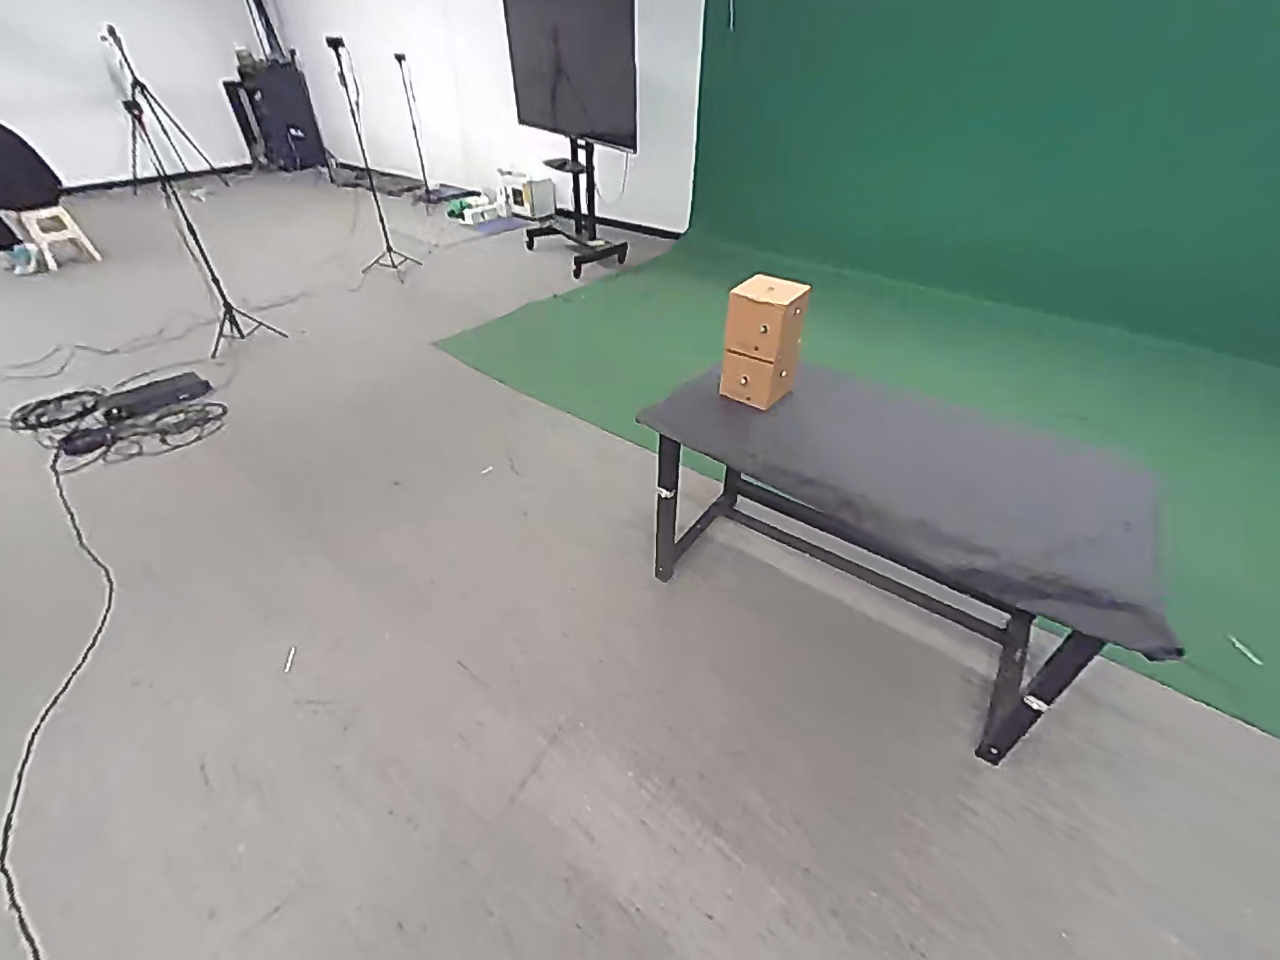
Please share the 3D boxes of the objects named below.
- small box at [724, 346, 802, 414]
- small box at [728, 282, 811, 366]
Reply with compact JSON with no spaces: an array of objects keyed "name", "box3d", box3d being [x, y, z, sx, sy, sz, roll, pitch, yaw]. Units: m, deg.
[{"name":"small box","box3d":[0.372,-0.327,1.662,0.168,0.176,0.179,28,46,28]},{"name":"small box","box3d":[0.366,-0.446,1.551,0.168,0.176,0.179,26,44,26]}]
